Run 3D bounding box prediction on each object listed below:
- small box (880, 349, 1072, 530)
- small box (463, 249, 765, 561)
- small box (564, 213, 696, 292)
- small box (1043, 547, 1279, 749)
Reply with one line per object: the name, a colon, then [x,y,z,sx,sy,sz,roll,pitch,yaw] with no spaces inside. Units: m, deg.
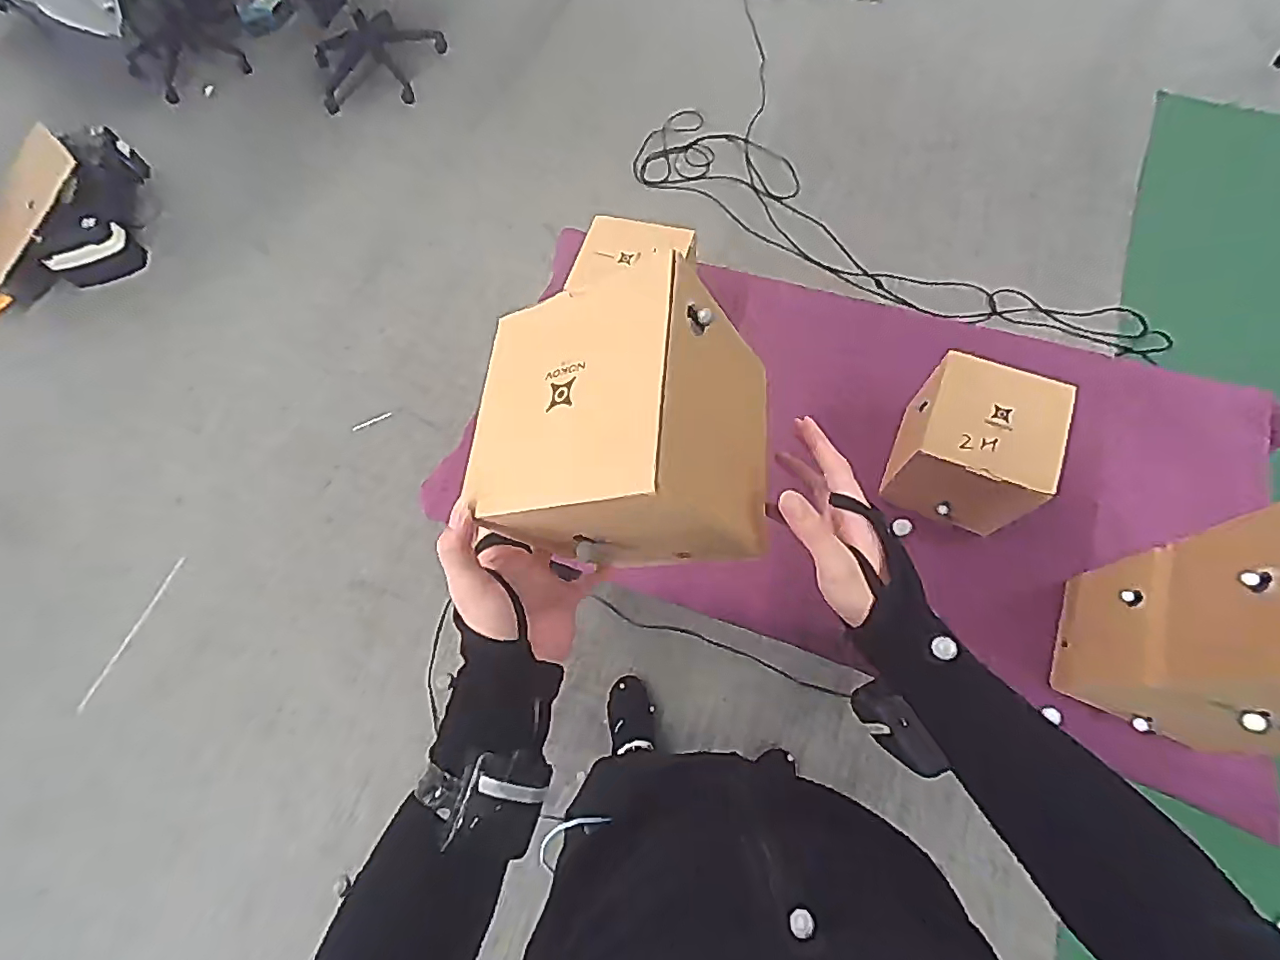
small box: [0.476,-0.053,0.790,0.168,0.176,0.179,23,72,14]
small box: [-0.007,-0.036,0.431,0.168,0.176,0.179,-9,64,33]
small box: [-0.008,-0.324,0.938,0.179,0.176,0.168,15,70,11]
small box: [0.653,0.207,0.668,0.179,0.176,0.168,22,70,13]
